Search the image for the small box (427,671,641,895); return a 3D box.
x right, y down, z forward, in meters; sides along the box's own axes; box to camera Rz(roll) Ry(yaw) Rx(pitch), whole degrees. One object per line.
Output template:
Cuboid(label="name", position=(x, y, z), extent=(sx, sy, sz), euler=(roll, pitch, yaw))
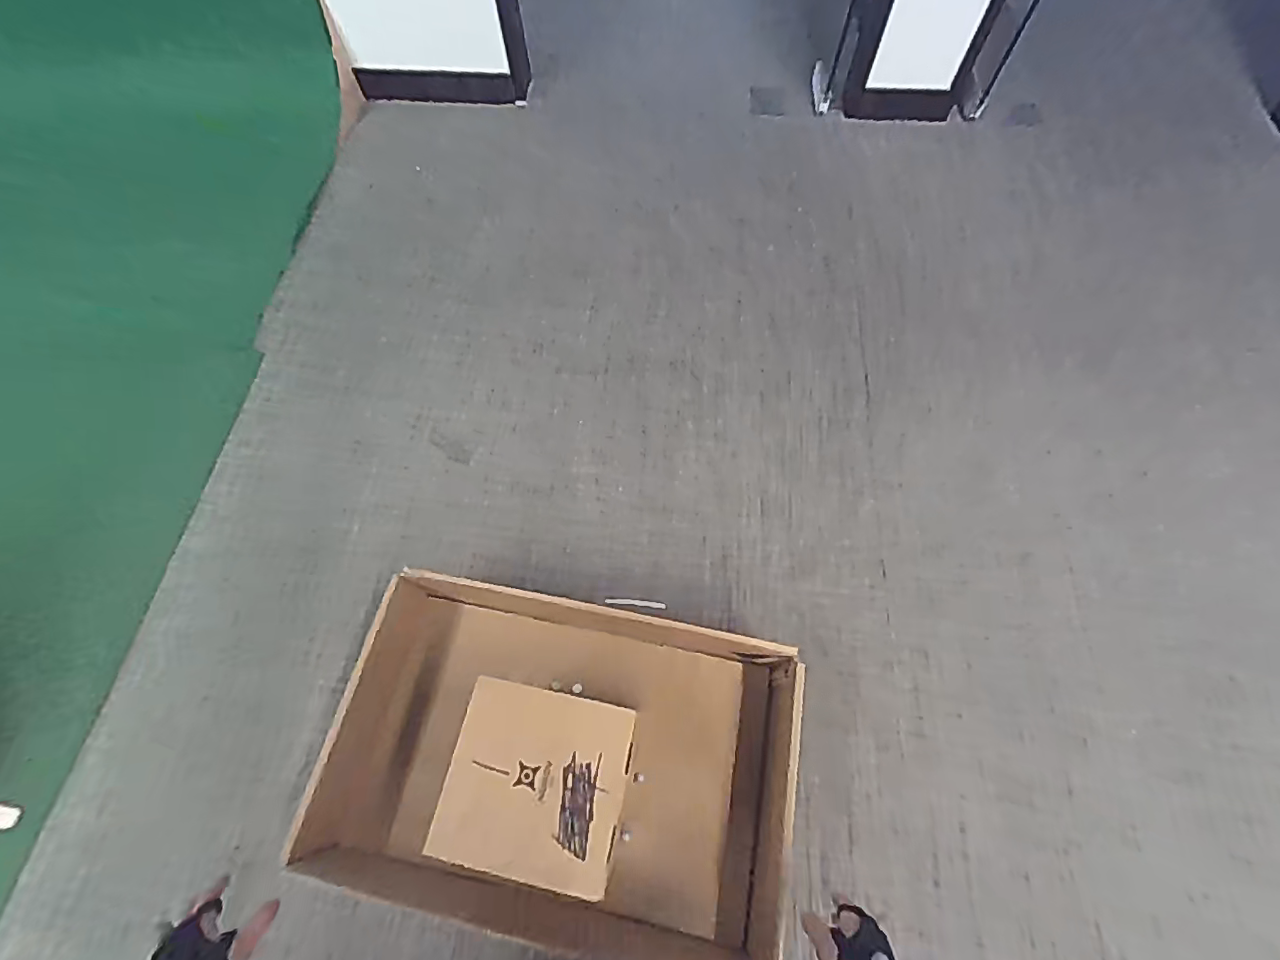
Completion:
Cuboid(label="small box", position=(-0.098, 0.321, 0.603), extent=(0.179, 0.176, 0.168), euler=(11, 67, 6))
